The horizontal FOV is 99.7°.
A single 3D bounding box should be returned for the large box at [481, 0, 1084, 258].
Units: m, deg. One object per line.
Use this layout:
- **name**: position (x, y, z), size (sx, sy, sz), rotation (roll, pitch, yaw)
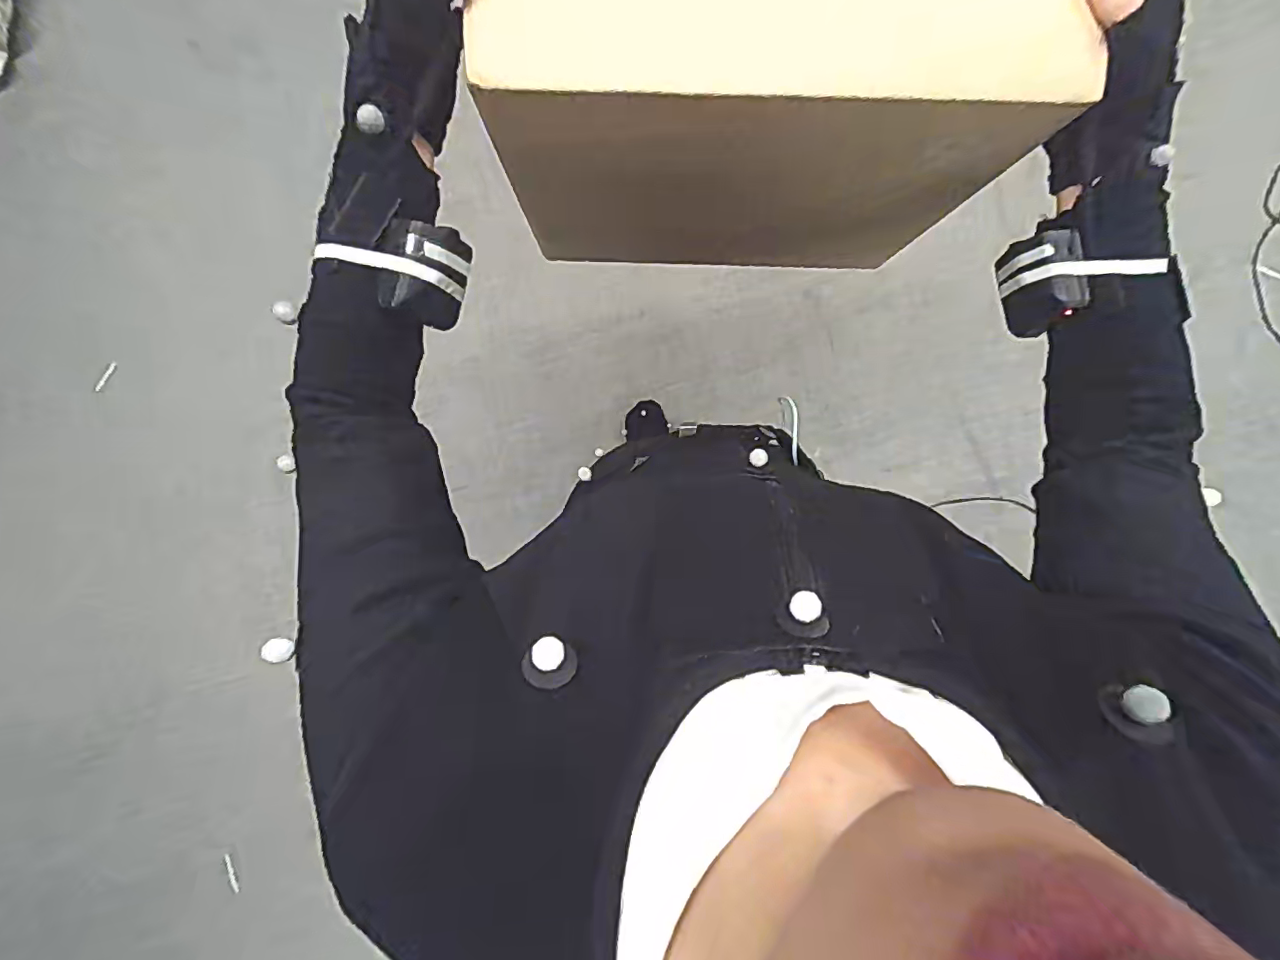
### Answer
- **large box**: position (0.089, -0.413, 0.497), size (0.408, 0.320, 0.320), rotation (1, 93, -2)
